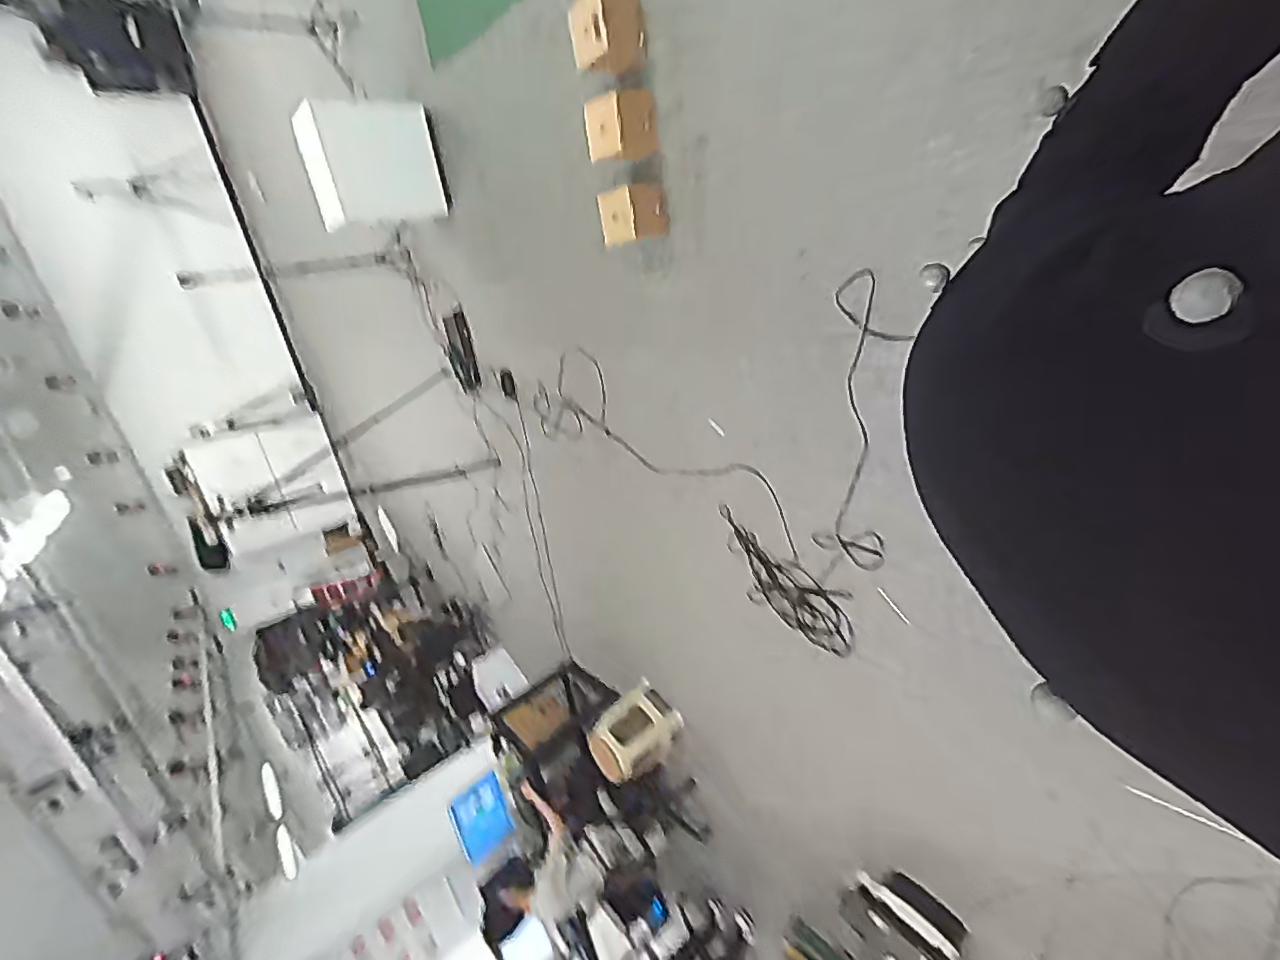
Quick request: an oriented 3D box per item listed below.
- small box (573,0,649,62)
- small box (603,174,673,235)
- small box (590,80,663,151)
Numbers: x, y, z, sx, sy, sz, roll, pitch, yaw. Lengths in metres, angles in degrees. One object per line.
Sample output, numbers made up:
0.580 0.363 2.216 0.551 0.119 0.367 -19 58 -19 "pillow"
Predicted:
-0.085 -1.474 1.734 0.179 0.176 0.168 14 121 49 "small box"
-0.005 -0.979 1.927 0.179 0.176 0.168 15 123 48 "small box"
-0.044 -1.227 1.832 0.179 0.176 0.168 17 123 47 "small box"
